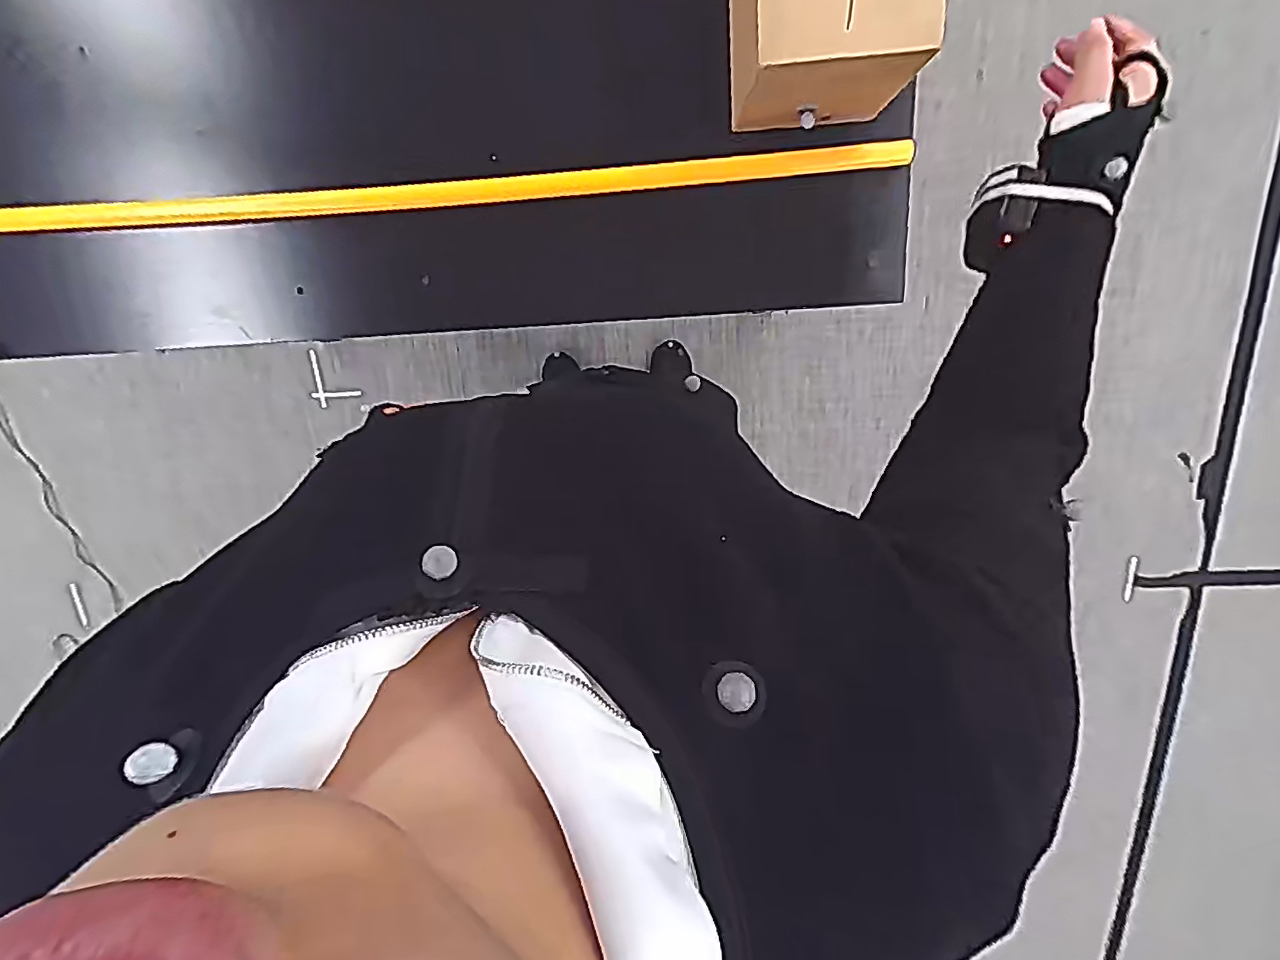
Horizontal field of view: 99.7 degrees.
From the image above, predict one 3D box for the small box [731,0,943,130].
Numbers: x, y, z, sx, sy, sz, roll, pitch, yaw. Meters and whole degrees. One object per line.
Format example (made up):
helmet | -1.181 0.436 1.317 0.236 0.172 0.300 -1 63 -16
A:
small box | 0.185 -0.487 0.546 0.168 0.176 0.179 -3 105 2
